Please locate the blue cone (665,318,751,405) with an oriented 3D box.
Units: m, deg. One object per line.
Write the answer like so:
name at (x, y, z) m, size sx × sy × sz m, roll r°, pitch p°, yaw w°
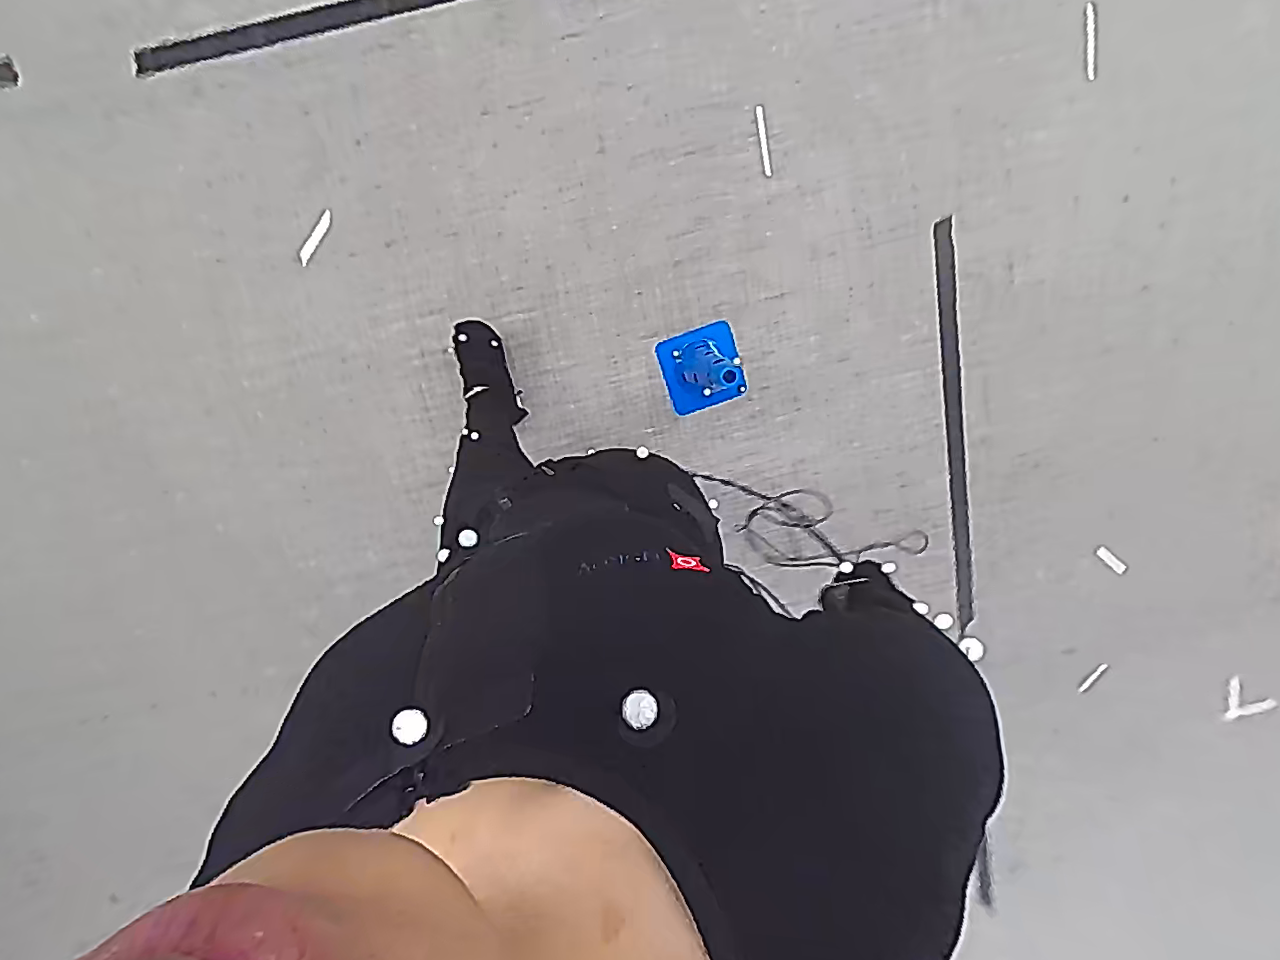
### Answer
blue cone at (0.179, -0.261, 1.226) m, size 0.192 × 0.380 × 0.193 m, roll -18°, pitch 104°, yaw 1°
